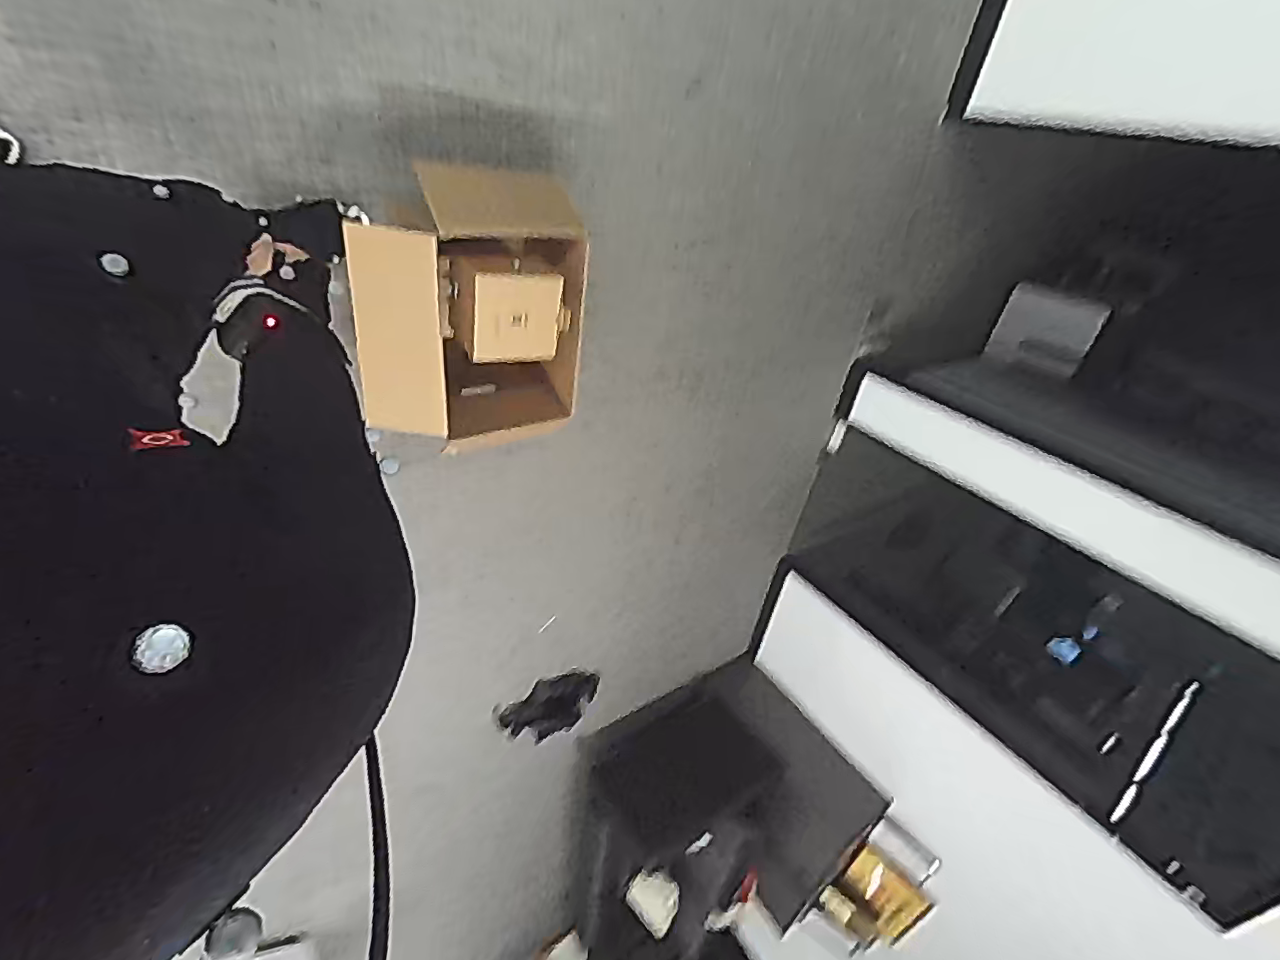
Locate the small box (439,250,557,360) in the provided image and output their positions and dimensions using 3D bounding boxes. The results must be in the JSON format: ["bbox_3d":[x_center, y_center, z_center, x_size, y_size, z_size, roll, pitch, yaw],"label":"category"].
[{"bbox_3d":[-0.291,-0.356,1.095,0.179,0.176,0.168,-11,130,-34],"label":"small box"}]
